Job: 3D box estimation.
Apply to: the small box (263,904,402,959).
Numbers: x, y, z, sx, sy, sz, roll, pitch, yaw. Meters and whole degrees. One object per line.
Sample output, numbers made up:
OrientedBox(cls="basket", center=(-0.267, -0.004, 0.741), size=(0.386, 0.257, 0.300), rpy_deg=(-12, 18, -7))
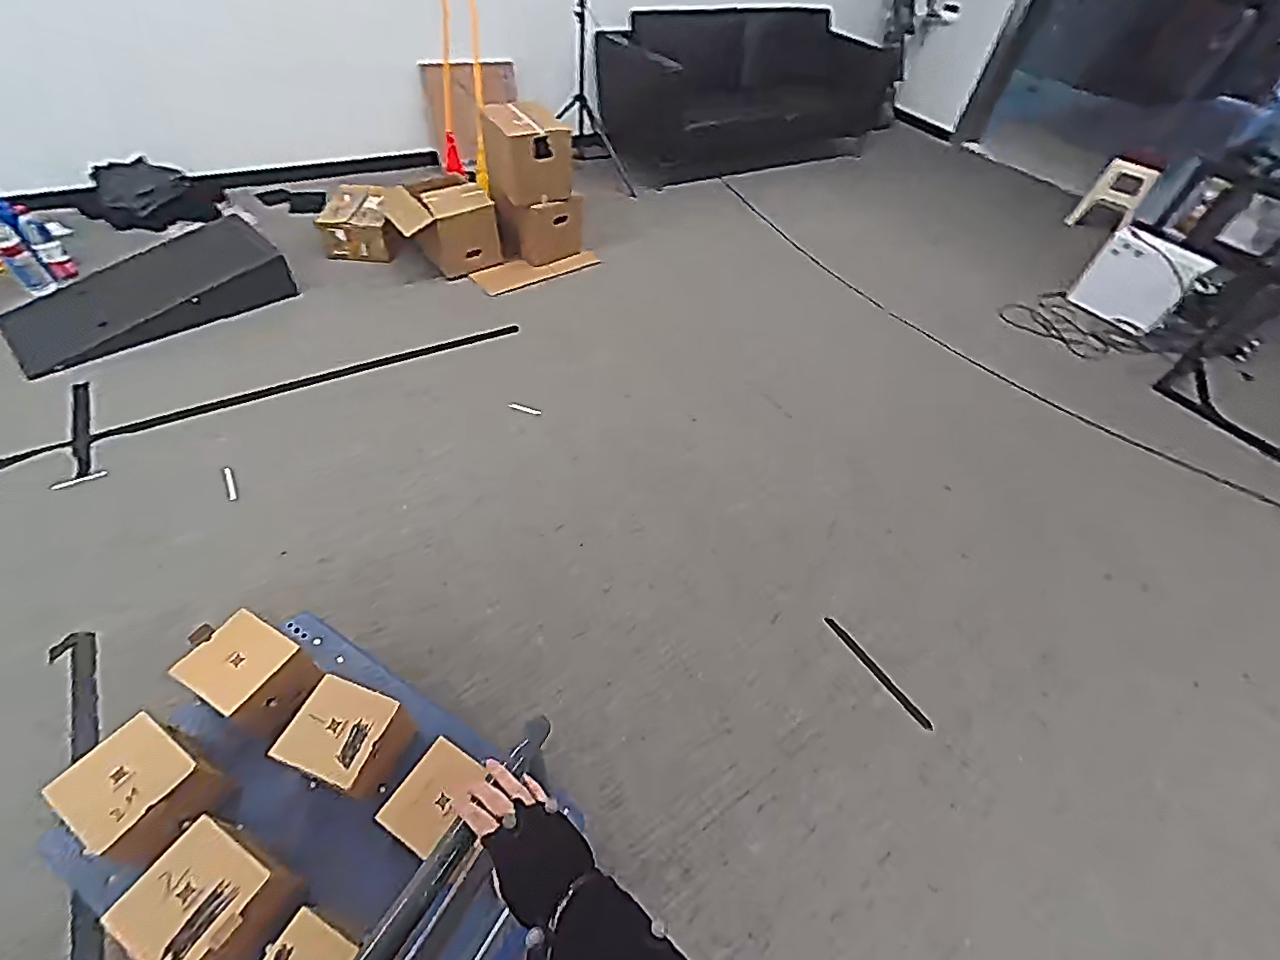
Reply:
OrientedBox(cls="small box", center=(-0.508, 0.818, 0.861), size=(0.179, 0.176, 0.168), rpy_deg=(26, 50, 12))

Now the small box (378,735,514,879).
OrientedBox(cls="small box", center=(-0.361, 0.635, 1.044), size=(0.179, 0.176, 0.168), rpy_deg=(28, 51, 16))

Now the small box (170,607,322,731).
OrientedBox(cls="small box", center=(-0.829, 0.412, 1.160), size=(0.179, 0.176, 0.168), rpy_deg=(26, 51, 13))

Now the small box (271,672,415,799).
OrientedBox(cls="small box", center=(-0.588, 0.525, 1.101), size=(0.179, 0.176, 0.168), rpy_deg=(18, 49, 8))

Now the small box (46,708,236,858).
OrientedBox(cls="small box", center=(-0.915, 0.570, 1.009), size=(0.179, 0.176, 0.168), rpy_deg=(30, 52, 15))
